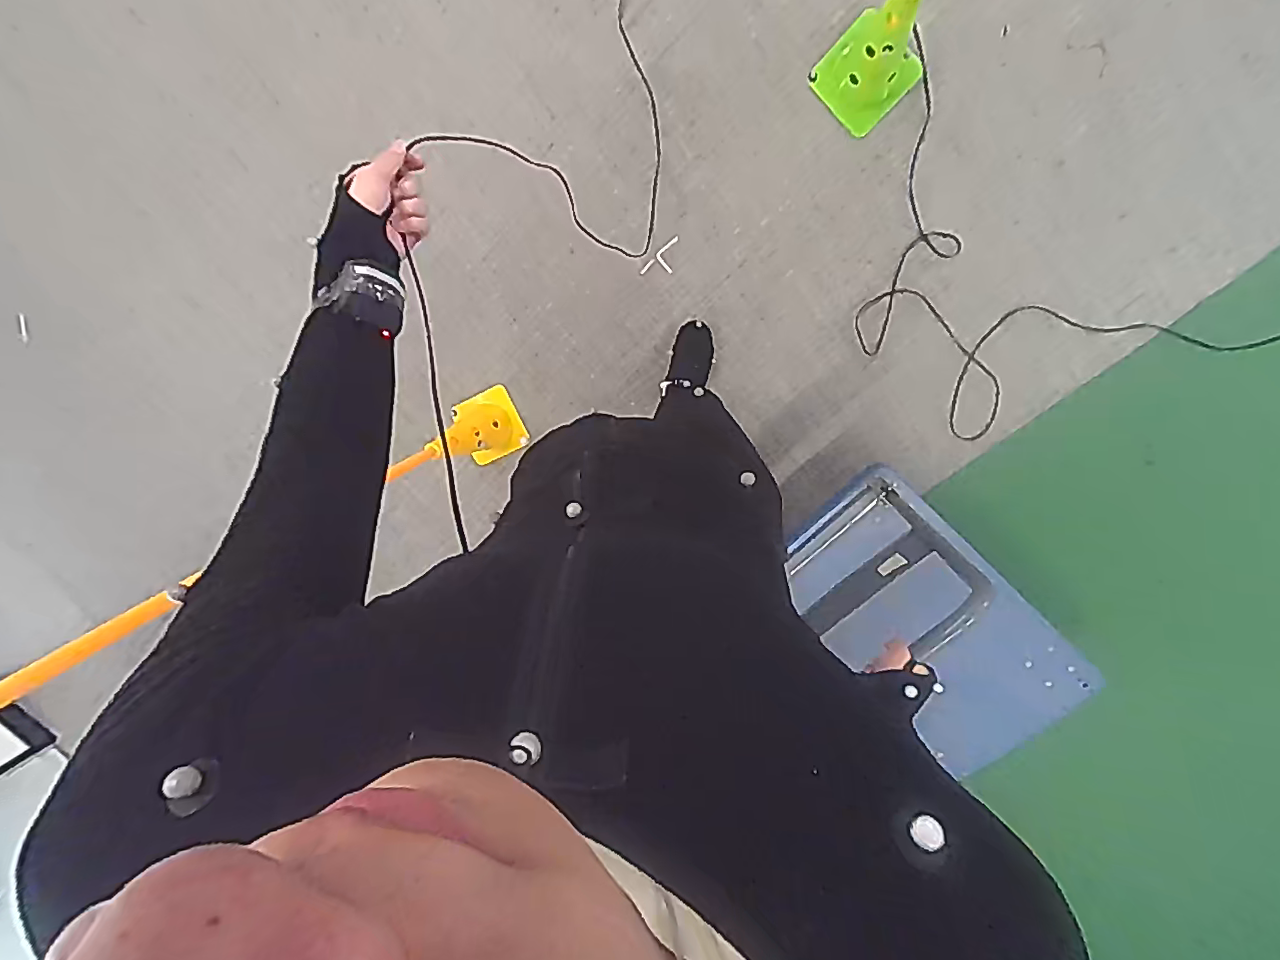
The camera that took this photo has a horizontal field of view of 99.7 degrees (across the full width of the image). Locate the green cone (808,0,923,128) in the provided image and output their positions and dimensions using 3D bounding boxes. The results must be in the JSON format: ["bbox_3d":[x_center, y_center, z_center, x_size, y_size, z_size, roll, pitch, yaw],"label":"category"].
[{"bbox_3d":[0.504,-0.926,1.104,0.200,0.368,0.202,44,106,-6],"label":"green cone"}]
